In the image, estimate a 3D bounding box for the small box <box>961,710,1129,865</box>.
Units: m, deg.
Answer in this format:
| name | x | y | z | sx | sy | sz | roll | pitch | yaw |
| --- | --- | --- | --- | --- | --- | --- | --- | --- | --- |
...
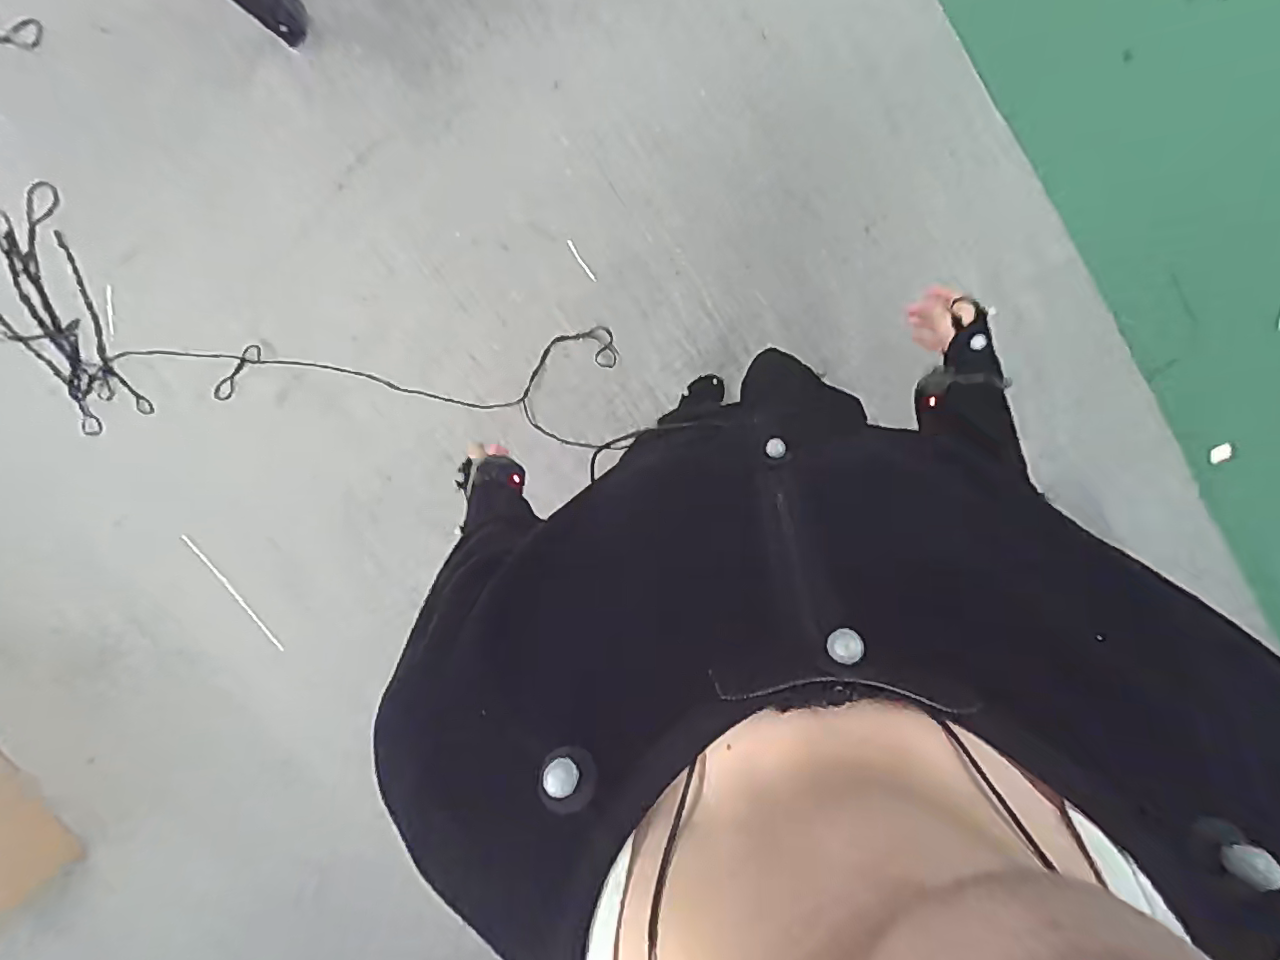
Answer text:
| name | x | y | z | sx | sy | sz | roll | pitch | yaw |
| --- | --- | --- | --- | --- | --- | --- | --- | --- | --- |
| small box | 0.762 | 0.576 | 1.041 | 0.168 | 0.176 | 0.179 | -31 | 96 | 11 |
